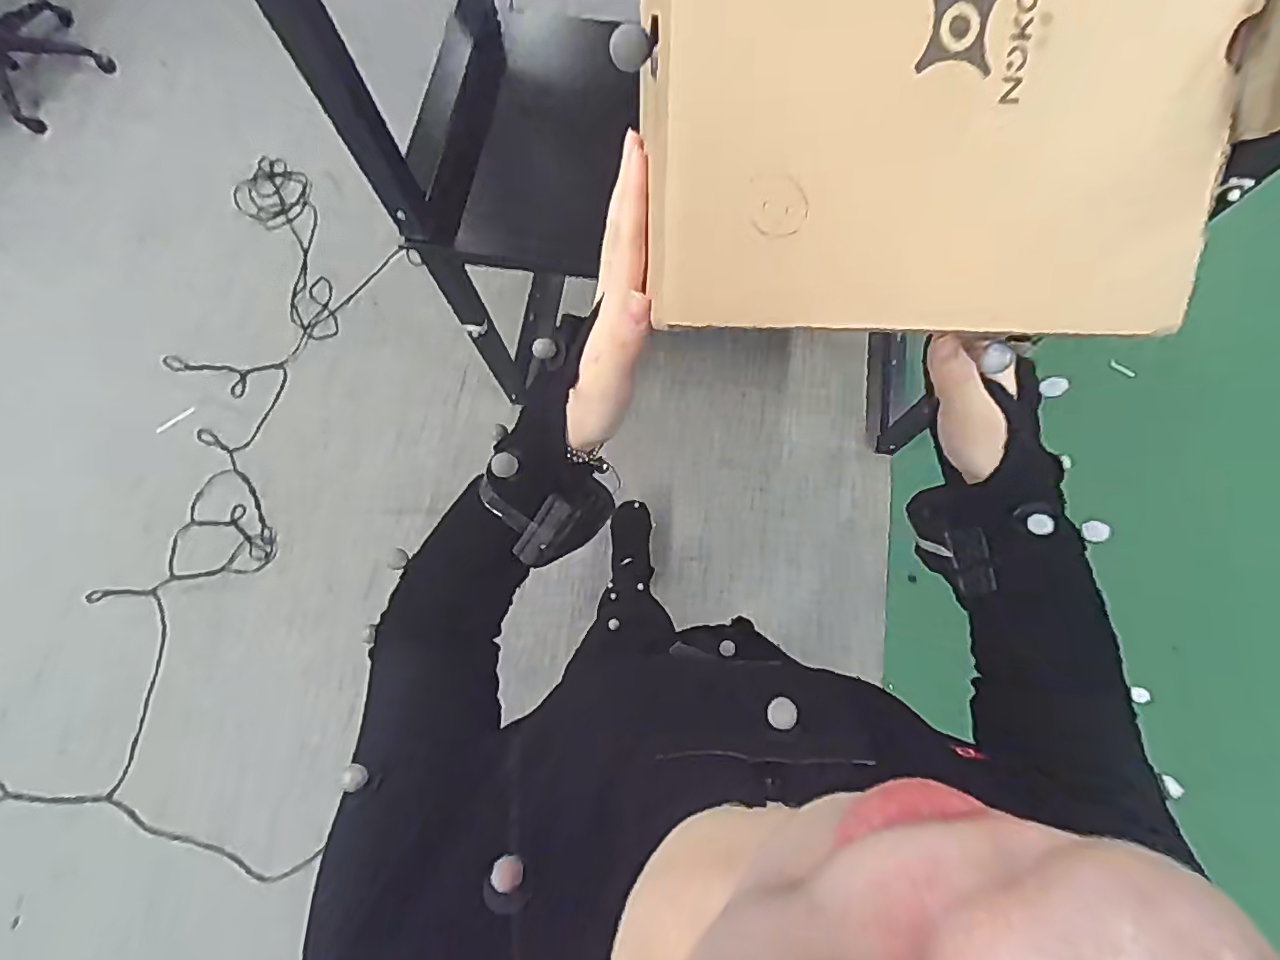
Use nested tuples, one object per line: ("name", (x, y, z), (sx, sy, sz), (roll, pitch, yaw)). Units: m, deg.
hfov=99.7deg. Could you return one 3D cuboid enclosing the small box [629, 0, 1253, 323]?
("small box", (0.085, -0.154, 0.229), (0.179, 0.176, 0.168), (0, 107, -4))
